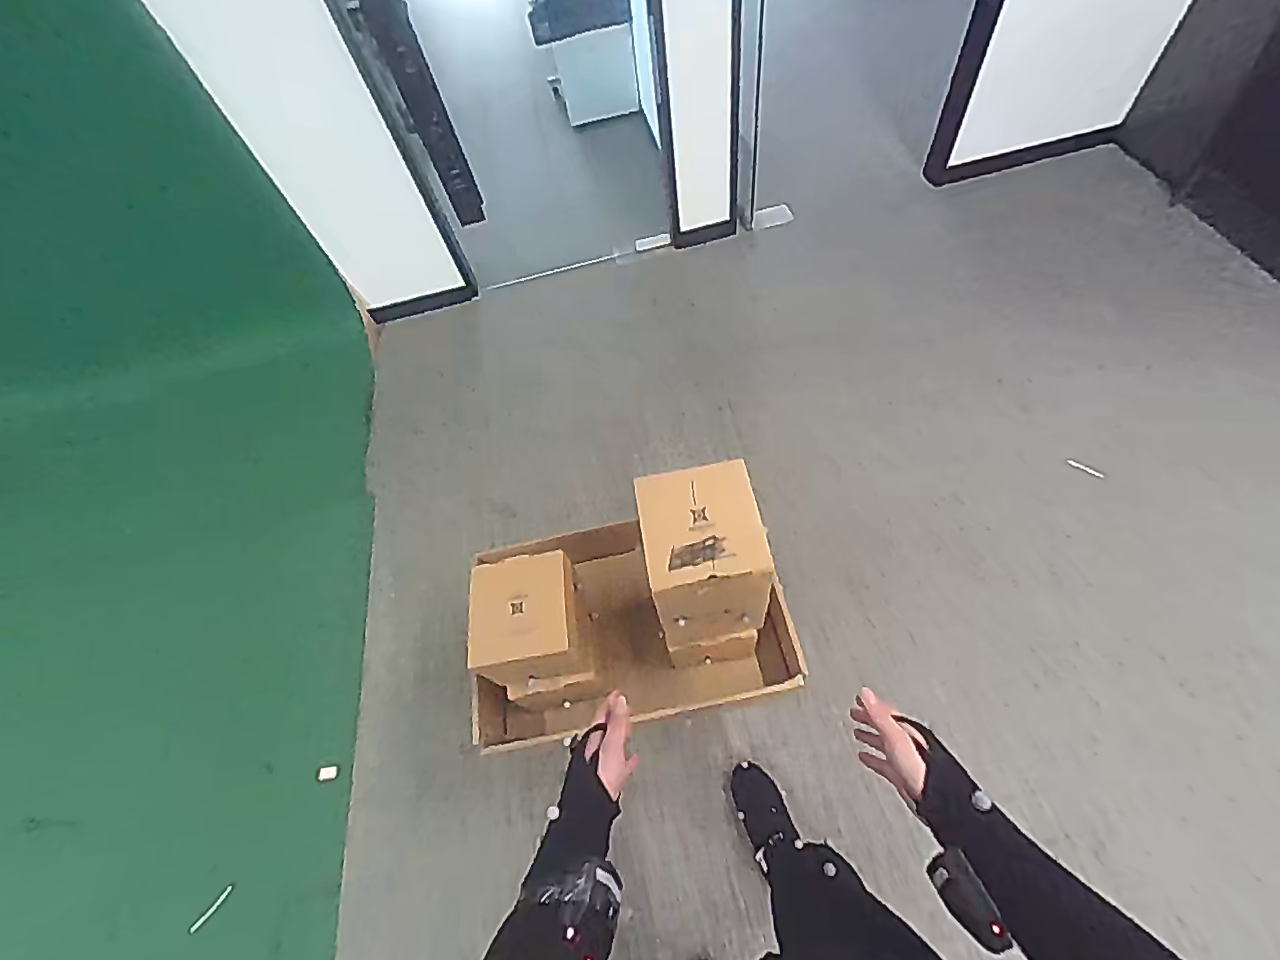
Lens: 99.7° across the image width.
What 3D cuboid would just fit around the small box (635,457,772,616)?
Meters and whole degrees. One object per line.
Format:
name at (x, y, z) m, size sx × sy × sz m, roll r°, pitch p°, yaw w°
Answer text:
small box at (0.092, 0.093, 0.811) m, size 0.168 × 0.176 × 0.179 m, roll -10°, pitch 58°, yaw 1°

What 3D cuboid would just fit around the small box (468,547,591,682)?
small box at (-0.188, 0.241, 0.958) m, size 0.168 × 0.176 × 0.179 m, roll -11°, pitch 58°, yaw 4°
